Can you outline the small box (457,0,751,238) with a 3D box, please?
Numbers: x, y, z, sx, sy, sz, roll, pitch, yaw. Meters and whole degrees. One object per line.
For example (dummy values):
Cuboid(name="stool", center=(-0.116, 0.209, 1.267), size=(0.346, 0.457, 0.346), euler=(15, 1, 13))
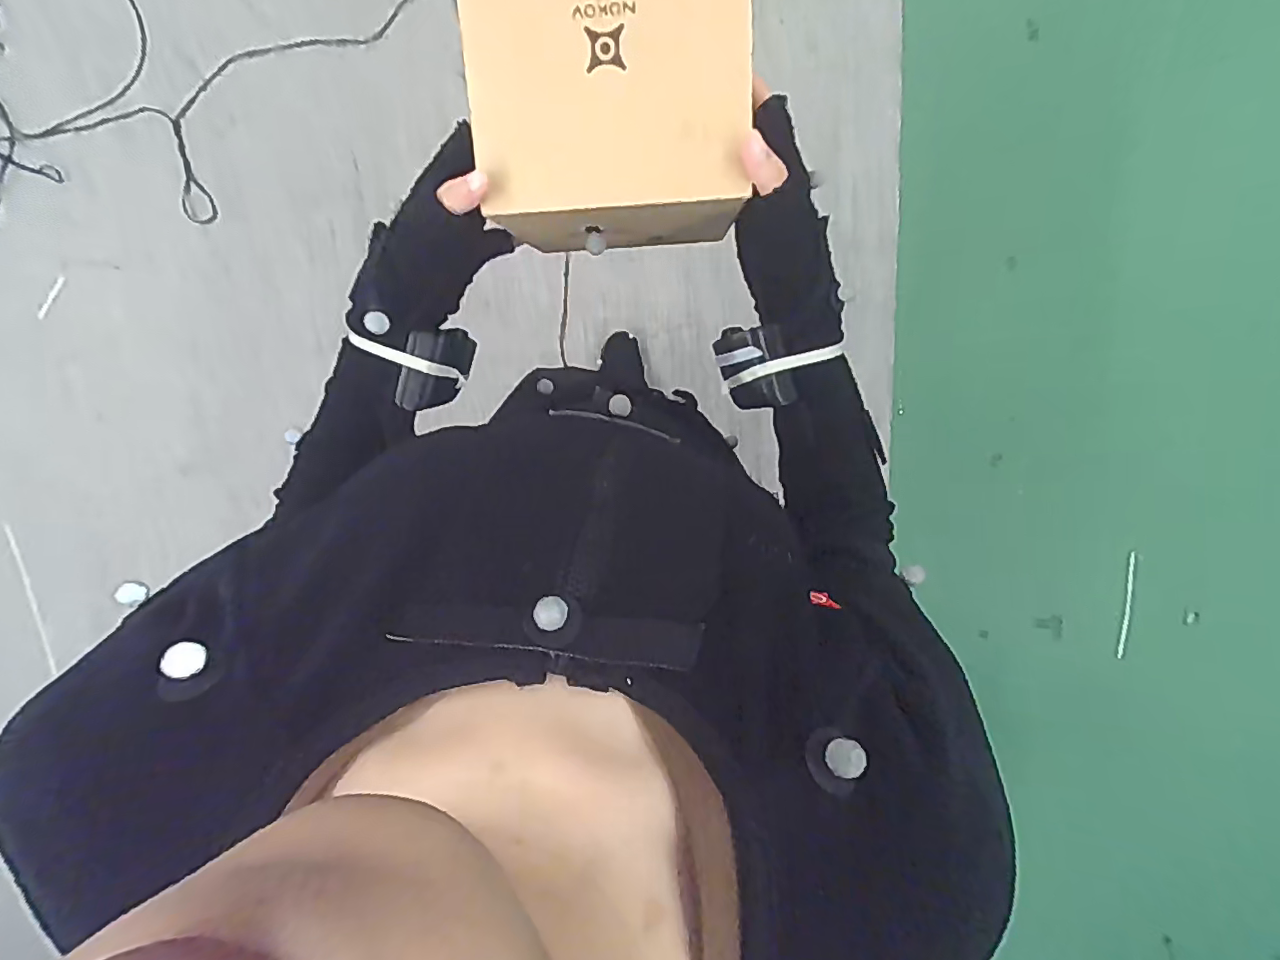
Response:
Cuboid(name="small box", center=(-0.016, -0.276, 0.377), size=(0.168, 0.176, 0.179), euler=(-3, 103, 3))
